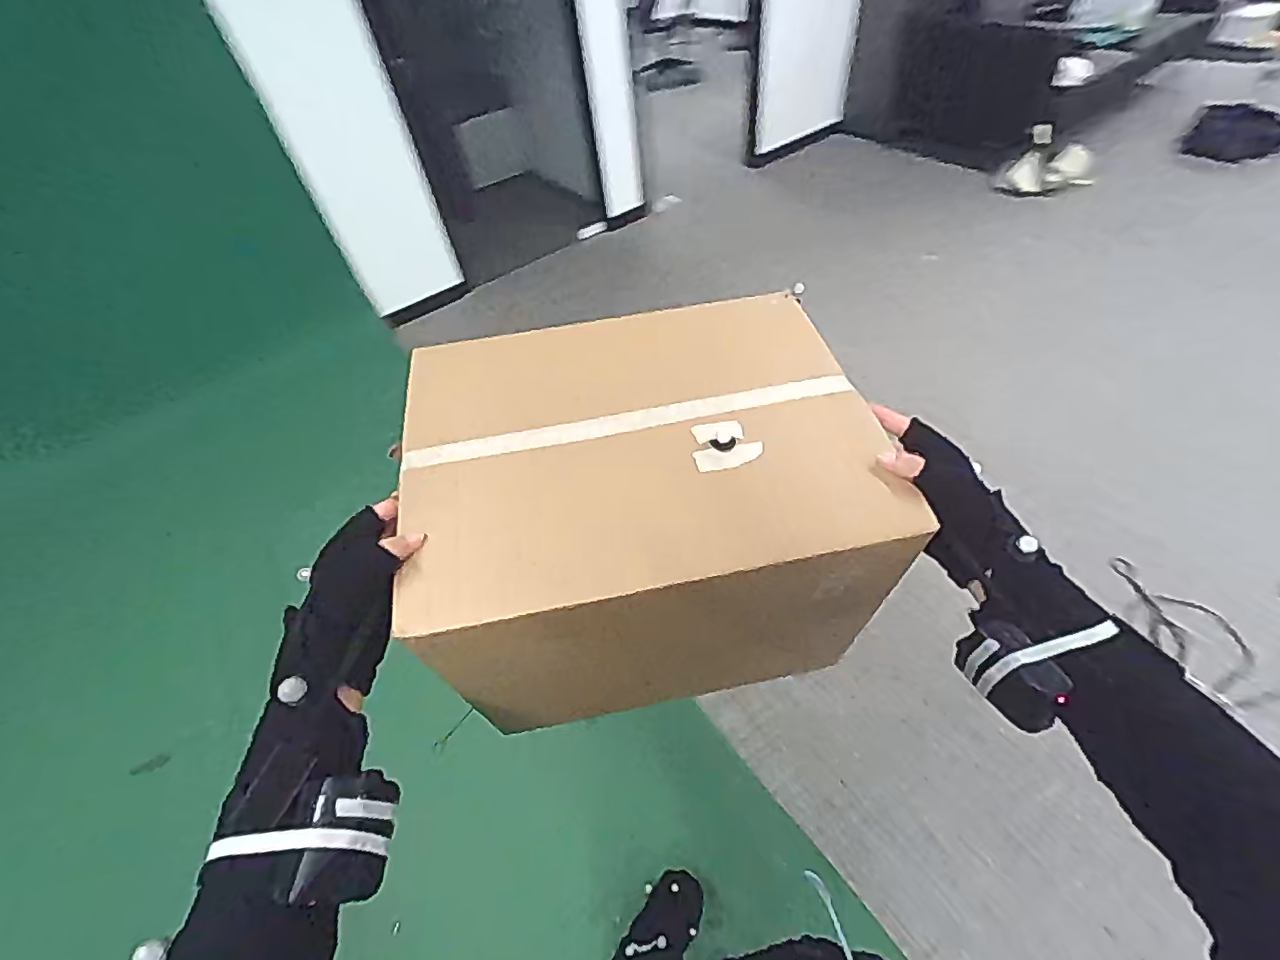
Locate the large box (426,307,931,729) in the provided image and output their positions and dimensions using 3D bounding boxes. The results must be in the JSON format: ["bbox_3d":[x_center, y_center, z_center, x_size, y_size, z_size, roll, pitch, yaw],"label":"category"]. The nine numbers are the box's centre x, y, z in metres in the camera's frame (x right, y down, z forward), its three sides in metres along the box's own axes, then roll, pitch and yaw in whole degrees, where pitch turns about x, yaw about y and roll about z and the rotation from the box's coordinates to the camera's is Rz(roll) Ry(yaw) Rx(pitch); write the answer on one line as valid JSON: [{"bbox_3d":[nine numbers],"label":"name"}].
[{"bbox_3d":[0.014,0.048,0.613,0.408,0.320,0.320,-9,53,-5],"label":"large box"}]
